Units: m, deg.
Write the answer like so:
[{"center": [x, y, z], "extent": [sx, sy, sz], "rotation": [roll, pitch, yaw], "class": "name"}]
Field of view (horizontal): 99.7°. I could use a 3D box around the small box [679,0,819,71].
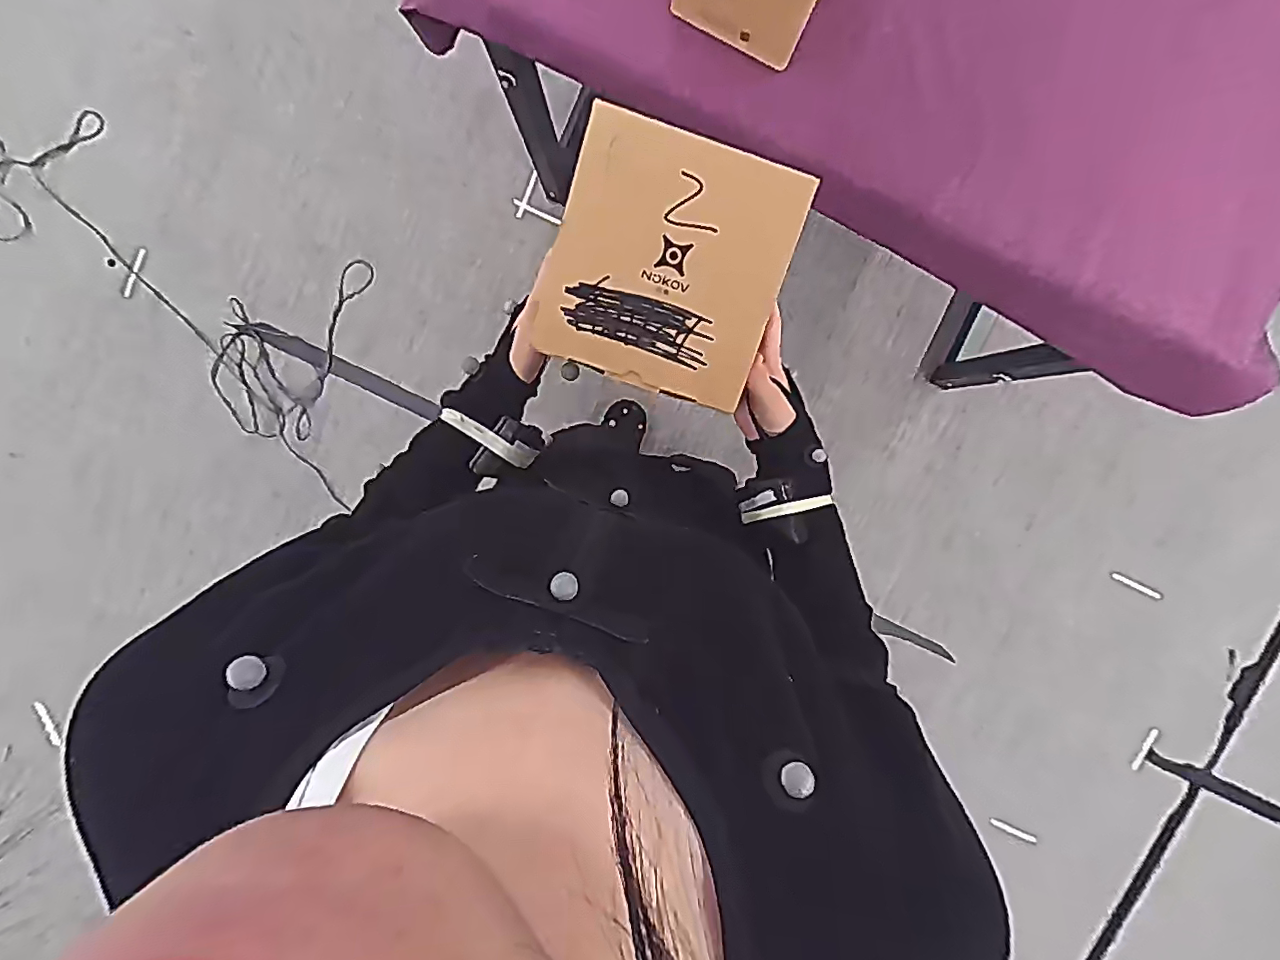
[{"center": [0.152, -0.638, 0.630], "extent": [0.168, 0.176, 0.179], "rotation": [26, 94, -3], "class": "small box"}]
